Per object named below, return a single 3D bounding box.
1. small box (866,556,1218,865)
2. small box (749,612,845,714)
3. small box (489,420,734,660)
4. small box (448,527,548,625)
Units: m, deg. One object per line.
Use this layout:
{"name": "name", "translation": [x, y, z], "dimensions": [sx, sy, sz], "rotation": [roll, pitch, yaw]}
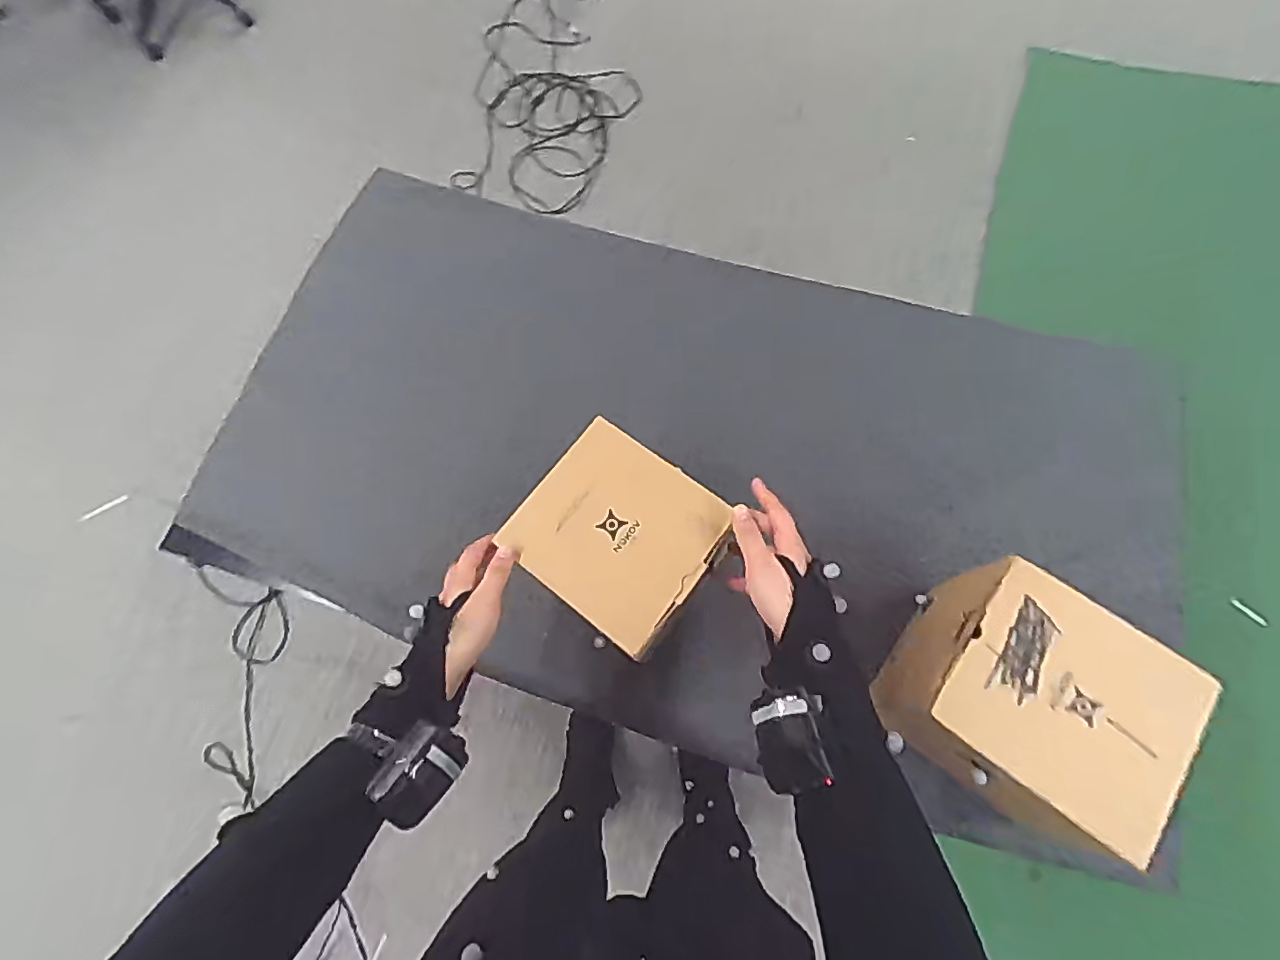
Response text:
{"name": "small box", "translation": [0.346, 0.202, 0.506], "dimensions": [0.179, 0.176, 0.168], "rotation": [36, 76, 15]}
{"name": "small box", "translation": [0.344, 0.406, 1.211], "dimensions": [0.168, 0.176, 0.179], "rotation": [11, 73, 7]}
{"name": "small box", "translation": [-0.022, 0.073, 0.580], "dimensions": [0.179, 0.176, 0.168], "rotation": [34, 75, 15]}
{"name": "small box", "translation": [-0.323, 0.242, 1.317], "dimensions": [0.179, 0.176, 0.168], "rotation": [28, 76, 12]}
